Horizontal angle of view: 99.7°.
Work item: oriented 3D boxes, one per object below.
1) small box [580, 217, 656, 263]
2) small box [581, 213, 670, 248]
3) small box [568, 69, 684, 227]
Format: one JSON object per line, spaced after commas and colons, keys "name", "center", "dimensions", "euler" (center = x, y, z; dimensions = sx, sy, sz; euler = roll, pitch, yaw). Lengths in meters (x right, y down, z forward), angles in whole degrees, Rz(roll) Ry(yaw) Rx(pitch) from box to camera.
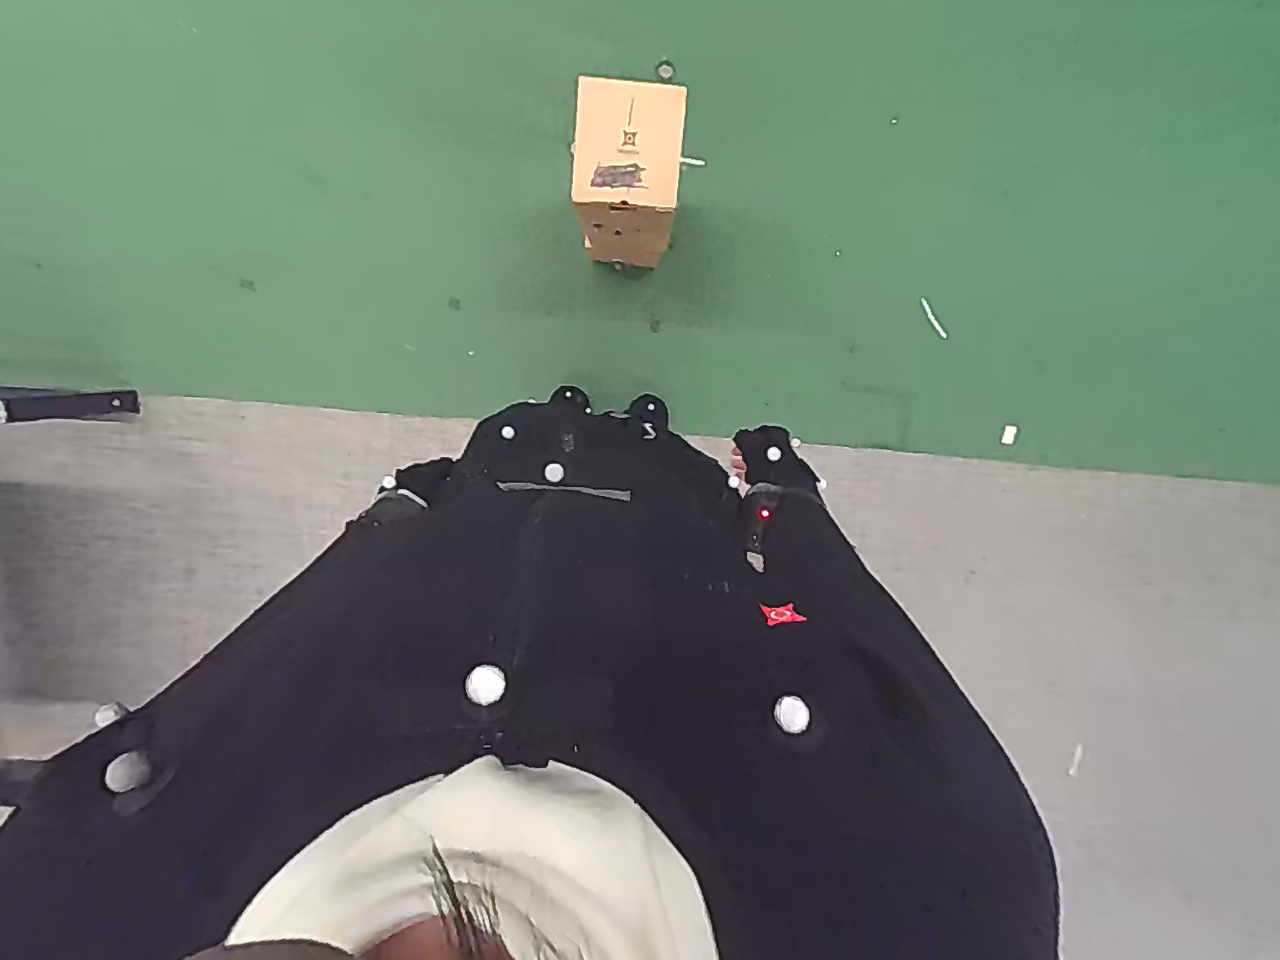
{"name": "small box", "center": [-0.035, -0.600, 1.202], "dimensions": [0.168, 0.176, 0.179], "euler": [8, 103, -1]}
{"name": "small box", "center": [-0.022, -0.572, 1.060], "dimensions": [0.168, 0.176, 0.179], "euler": [5, 102, -2]}
{"name": "small box", "center": [-0.023, -0.536, 0.899], "dimensions": [0.168, 0.176, 0.179], "euler": [5, 102, -2]}
